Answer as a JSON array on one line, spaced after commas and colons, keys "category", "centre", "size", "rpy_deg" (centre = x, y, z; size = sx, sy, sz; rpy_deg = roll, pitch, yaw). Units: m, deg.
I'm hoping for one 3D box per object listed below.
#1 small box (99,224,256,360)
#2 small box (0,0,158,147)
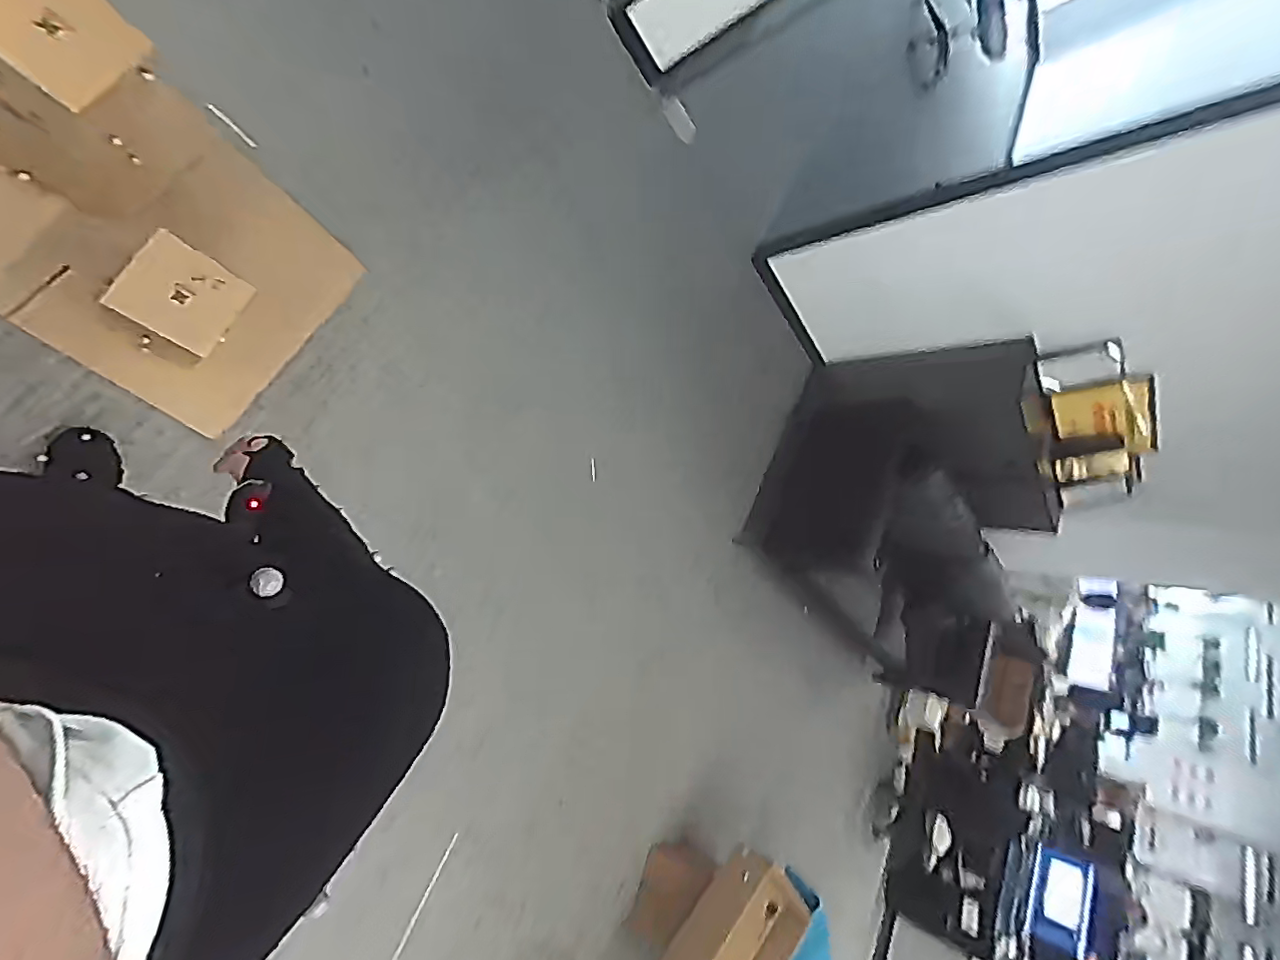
[{"category": "small box", "centre": [-0.897, -0.354, 1.056], "size": [0.168, 0.176, 0.179], "rpy_deg": [38, 67, -40]}, {"category": "small box", "centre": [-0.888, -0.659, 0.827], "size": [0.168, 0.176, 0.179], "rpy_deg": [40, 65, -37]}]
